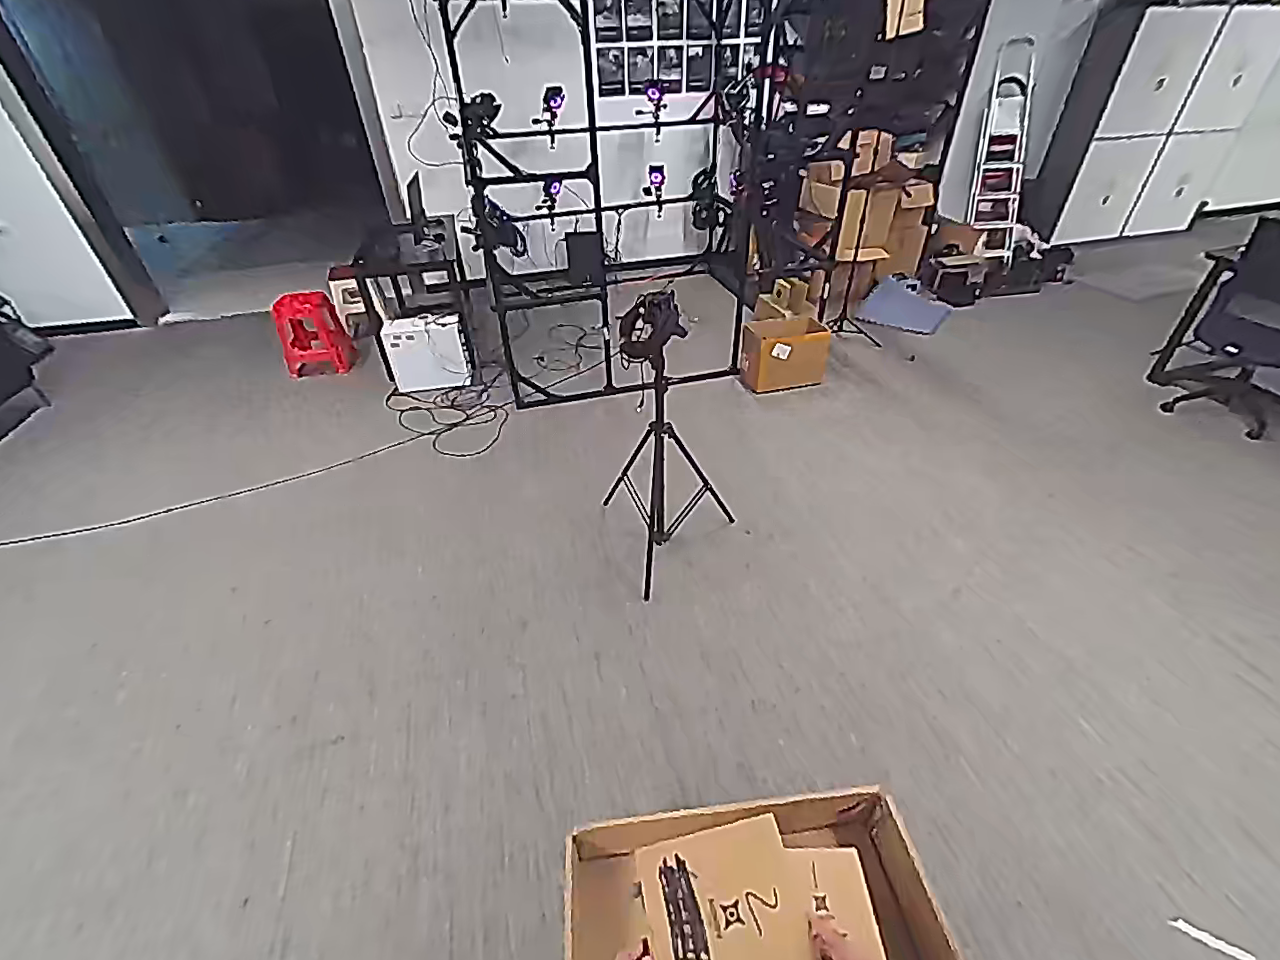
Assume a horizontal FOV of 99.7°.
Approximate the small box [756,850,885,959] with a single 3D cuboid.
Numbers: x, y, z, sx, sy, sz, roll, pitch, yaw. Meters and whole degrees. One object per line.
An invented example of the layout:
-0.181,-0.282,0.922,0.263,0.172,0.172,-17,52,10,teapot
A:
0.295,0.756,0.914,0.168,0.176,0.179,-2,37,2,small box
